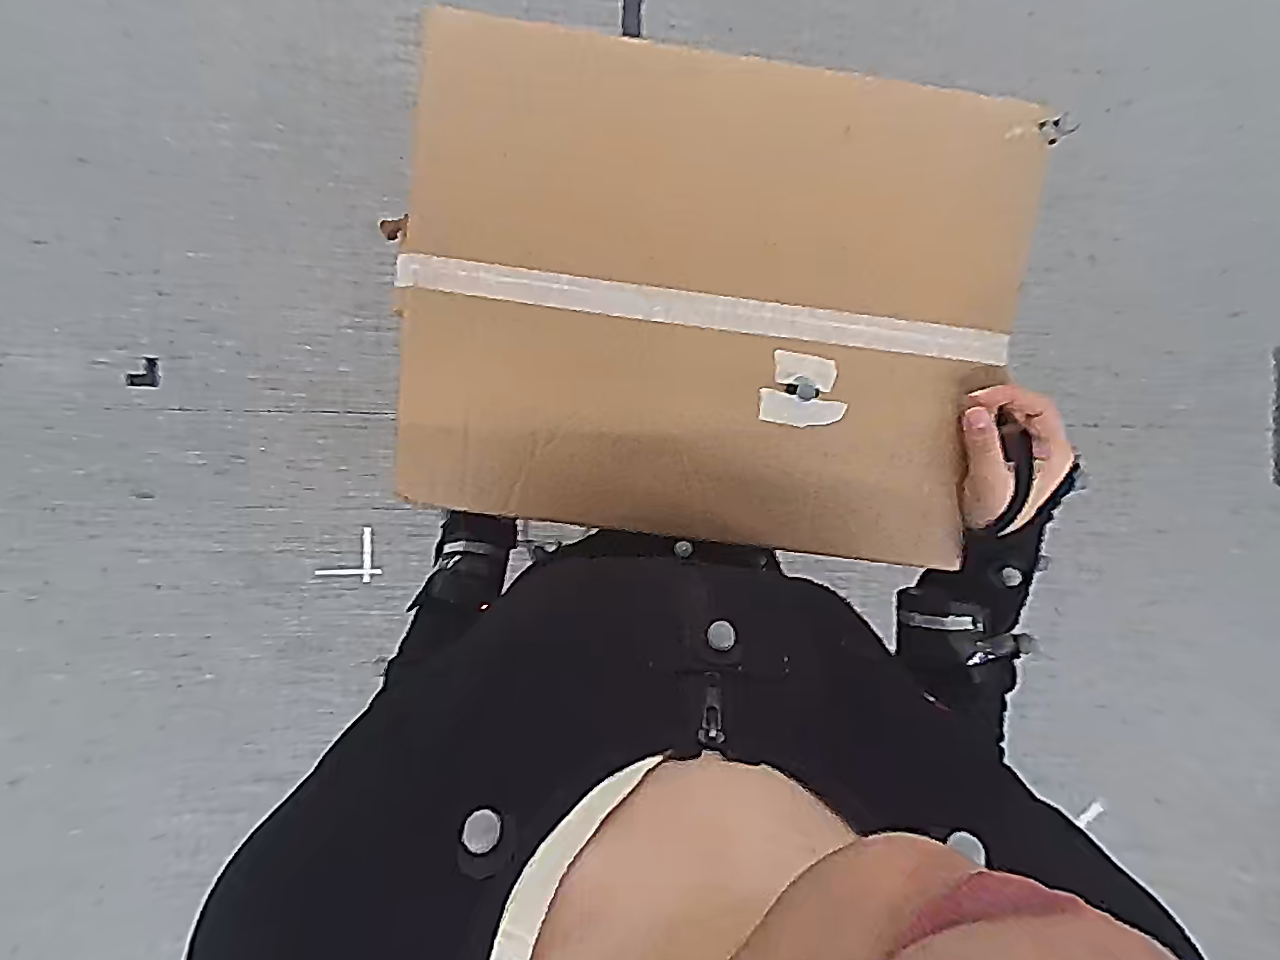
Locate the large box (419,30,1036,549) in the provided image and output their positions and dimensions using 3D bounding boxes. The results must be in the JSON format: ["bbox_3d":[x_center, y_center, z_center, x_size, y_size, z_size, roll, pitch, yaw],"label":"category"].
[{"bbox_3d":[0.048,-0.137,0.518,0.408,0.320,0.320,6,98,-3],"label":"large box"}]
